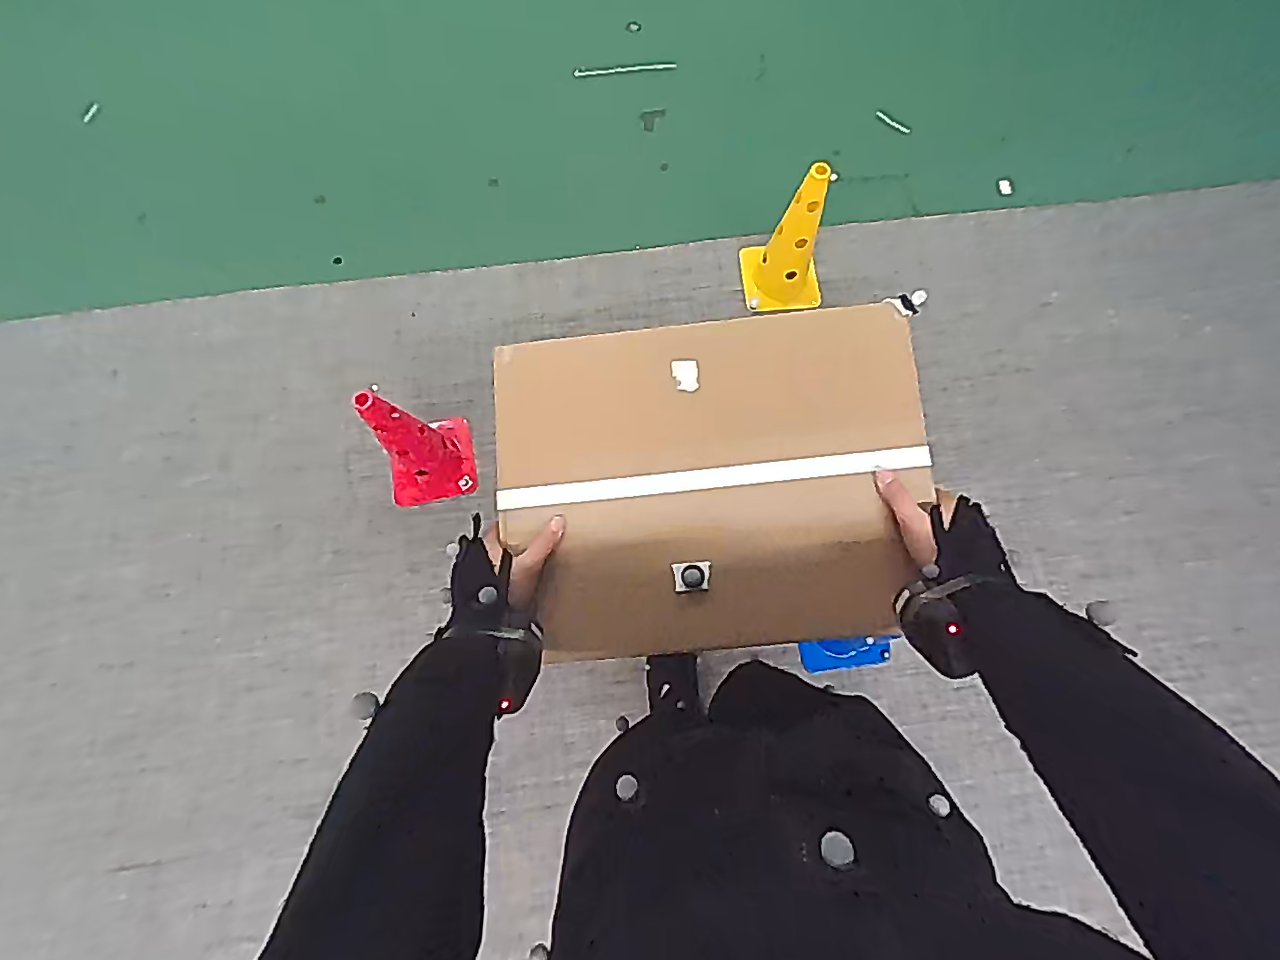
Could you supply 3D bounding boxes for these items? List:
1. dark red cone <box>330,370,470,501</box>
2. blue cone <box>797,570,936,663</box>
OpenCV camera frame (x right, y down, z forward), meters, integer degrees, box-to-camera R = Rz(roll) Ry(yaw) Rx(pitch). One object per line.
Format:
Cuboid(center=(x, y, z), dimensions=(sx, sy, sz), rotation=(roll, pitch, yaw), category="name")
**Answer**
Cuboid(center=(-0.516, -0.113, 1.134), dimensions=(0.202, 0.394, 0.201), rotation=(-14, 71, -3), category="dark red cone")
Cuboid(center=(0.451, 0.257, 1.045), dimensions=(0.192, 0.380, 0.193), rotation=(-7, 74, -1), category="blue cone")
